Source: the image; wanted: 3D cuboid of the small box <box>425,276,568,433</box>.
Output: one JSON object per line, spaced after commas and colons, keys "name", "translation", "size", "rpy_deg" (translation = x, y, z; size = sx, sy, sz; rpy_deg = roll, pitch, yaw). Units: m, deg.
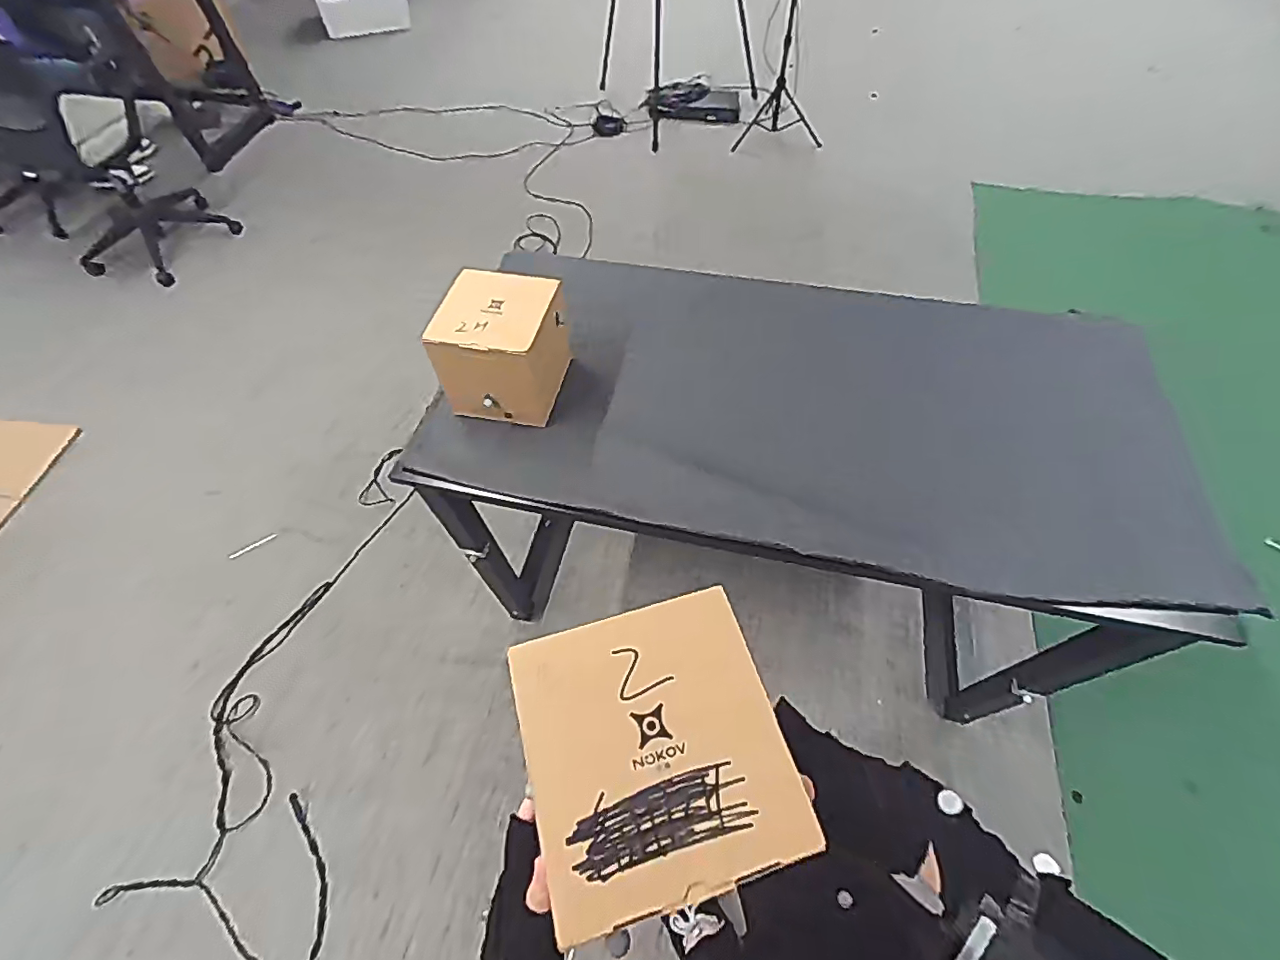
{"name": "small box", "translation": [-0.221, -0.205, 0.892], "size": [0.168, 0.176, 0.179], "rpy_deg": [9, 56, 7]}
